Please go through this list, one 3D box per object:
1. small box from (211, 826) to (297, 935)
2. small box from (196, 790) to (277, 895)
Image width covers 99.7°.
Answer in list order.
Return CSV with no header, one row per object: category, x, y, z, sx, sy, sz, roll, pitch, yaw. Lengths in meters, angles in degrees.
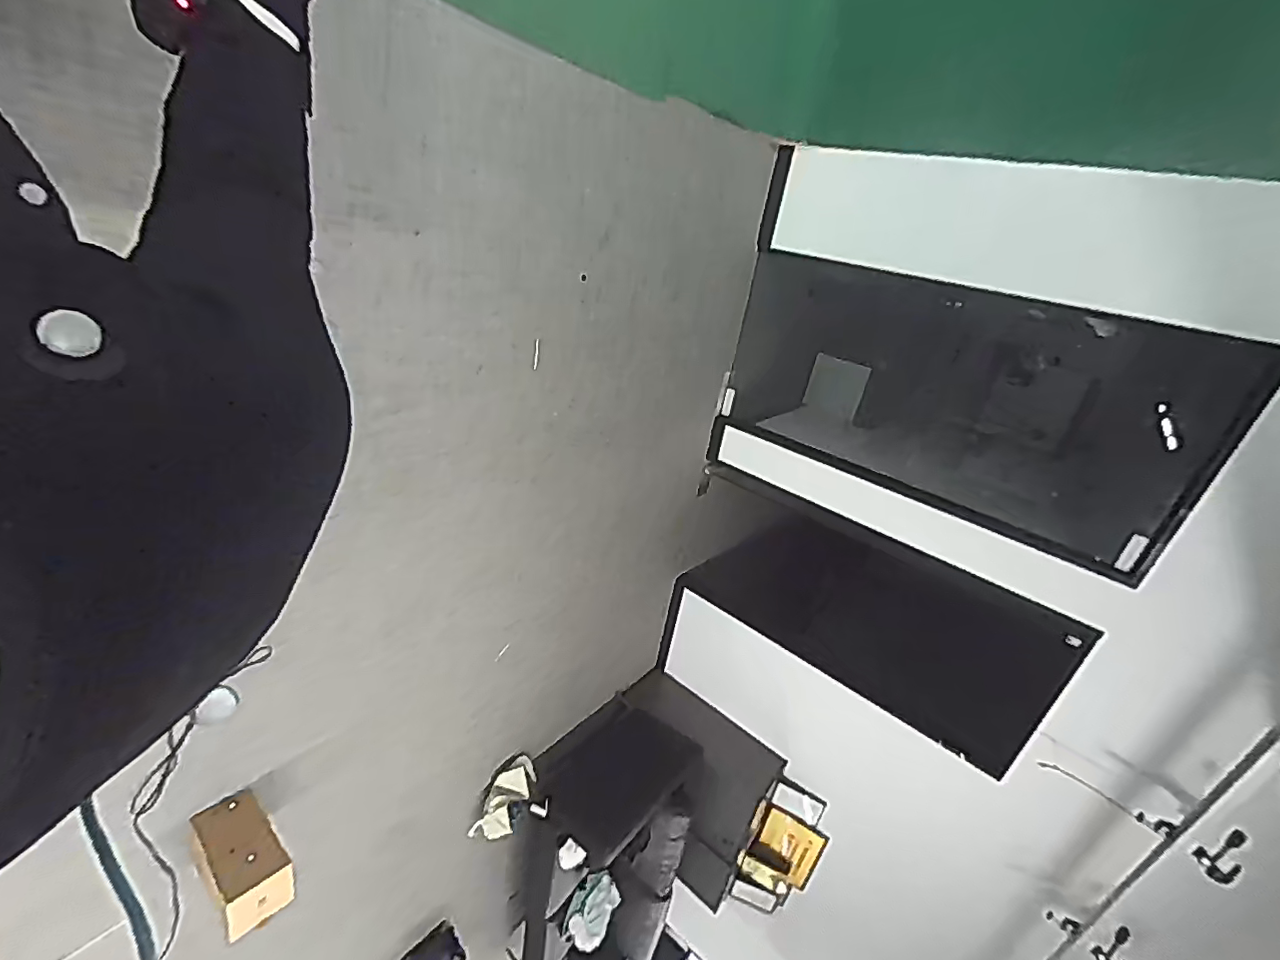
small box,-1.152,1.180,1.614,0.168,0.176,0.179,-16,127,-51
small box,-1.264,1.127,1.694,0.168,0.176,0.179,-13,124,-52
